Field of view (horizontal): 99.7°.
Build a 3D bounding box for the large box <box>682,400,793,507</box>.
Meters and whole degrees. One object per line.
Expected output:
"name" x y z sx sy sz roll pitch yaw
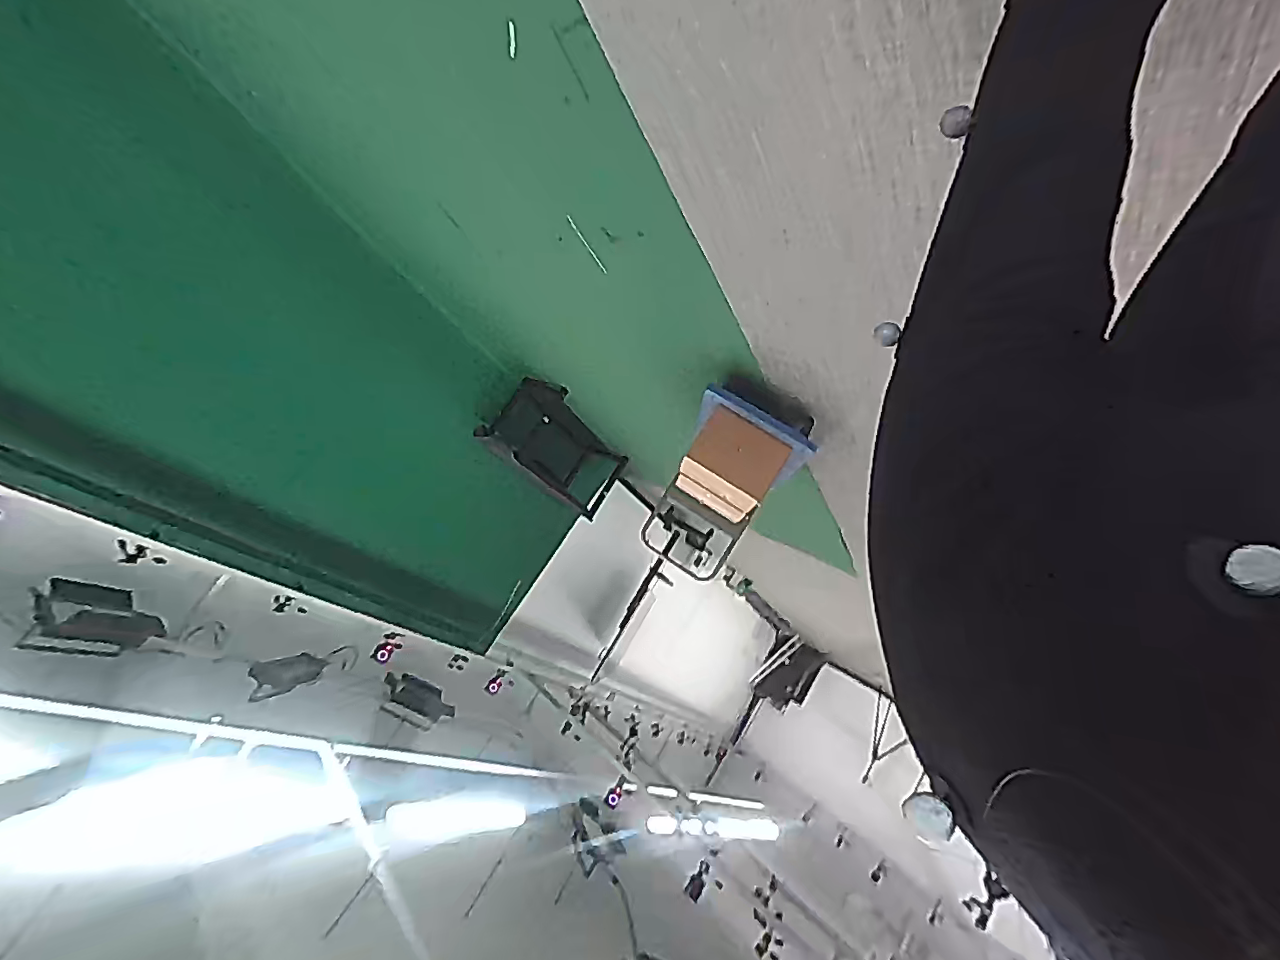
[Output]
"large box" 0.459 -0.124 2.624 0.408 0.320 0.320 32 170 6
